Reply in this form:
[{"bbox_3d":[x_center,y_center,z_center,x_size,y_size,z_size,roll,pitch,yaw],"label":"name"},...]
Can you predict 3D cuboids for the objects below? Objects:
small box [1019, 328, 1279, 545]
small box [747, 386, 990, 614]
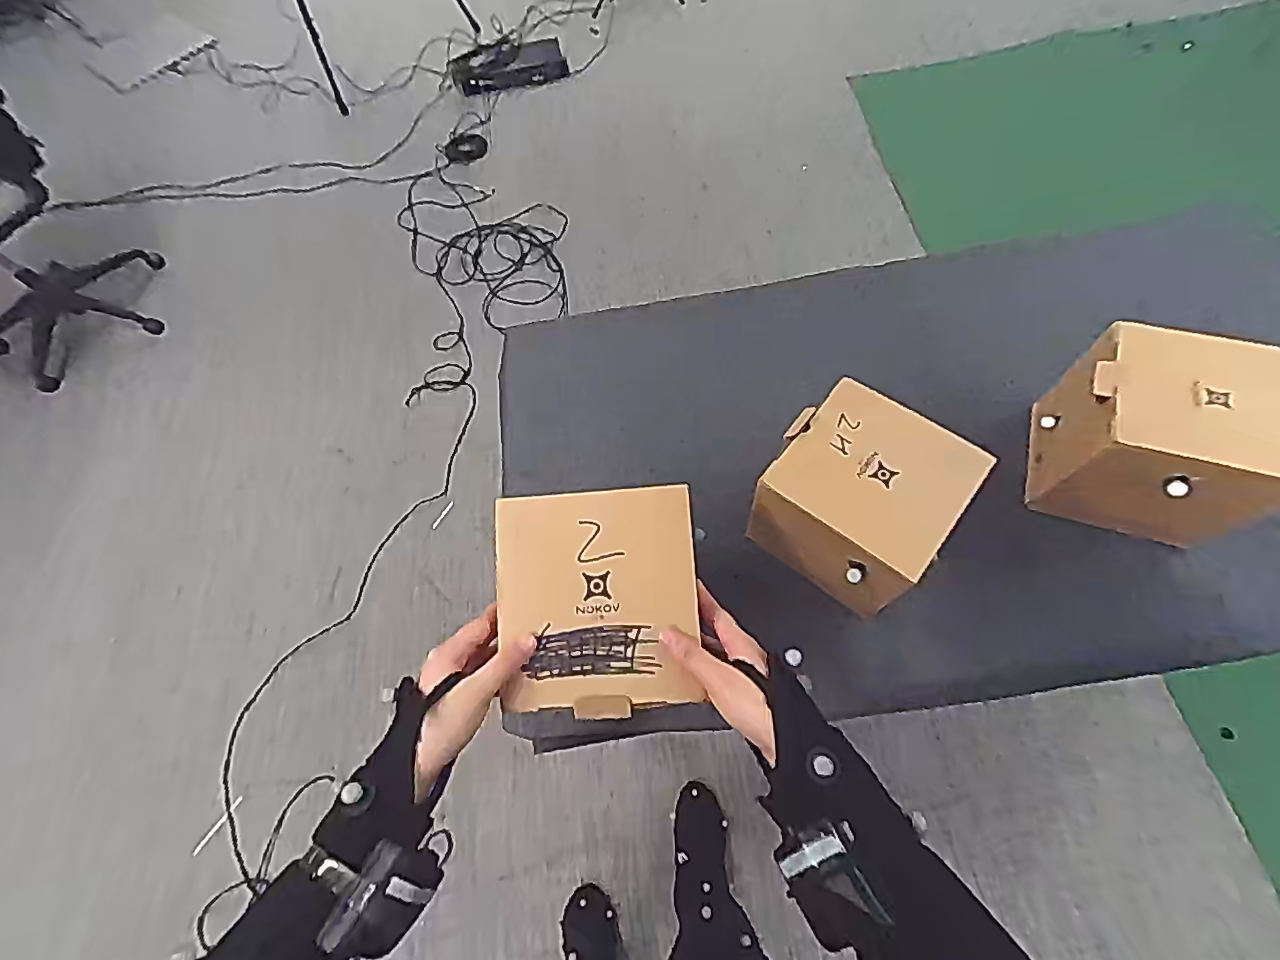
[{"bbox_3d":[0.578,-0.040,0.618,0.179,0.176,0.168,16,66,14],"label":"small box"},{"bbox_3d":[0.242,0.033,0.618,0.179,0.176,0.168,36,72,21],"label":"small box"}]
